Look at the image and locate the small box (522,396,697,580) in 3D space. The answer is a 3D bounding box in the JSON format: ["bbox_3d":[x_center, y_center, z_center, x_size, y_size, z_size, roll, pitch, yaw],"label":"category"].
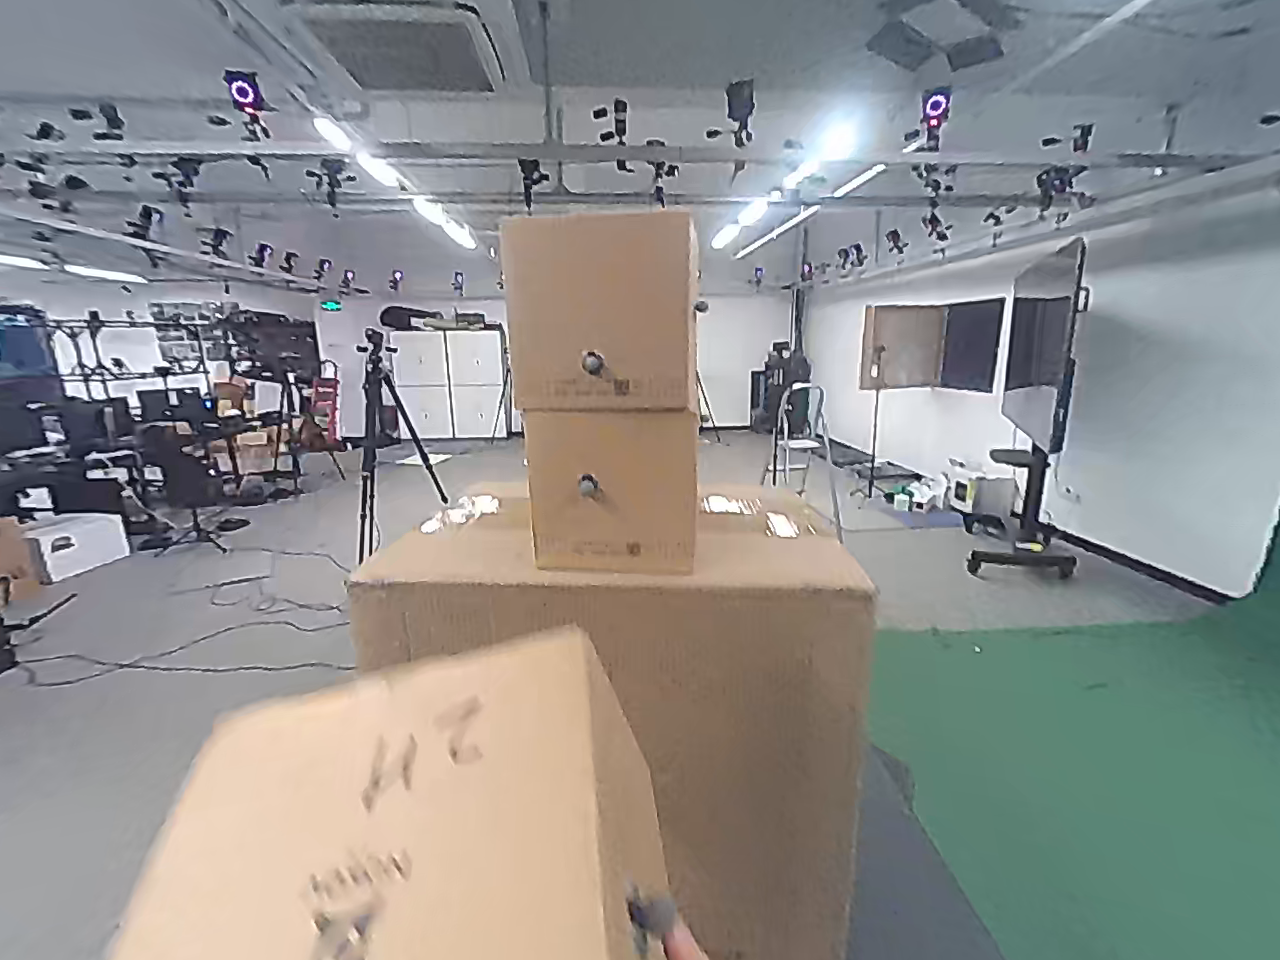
[{"bbox_3d":[-0.020,0.002,0.604,0.168,0.176,0.179,1,16,6],"label":"small box"}]

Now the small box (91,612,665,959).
[{"bbox_3d":[-0.082,0.190,0.231,0.168,0.176,0.179,-13,41,1],"label":"small box"}]
